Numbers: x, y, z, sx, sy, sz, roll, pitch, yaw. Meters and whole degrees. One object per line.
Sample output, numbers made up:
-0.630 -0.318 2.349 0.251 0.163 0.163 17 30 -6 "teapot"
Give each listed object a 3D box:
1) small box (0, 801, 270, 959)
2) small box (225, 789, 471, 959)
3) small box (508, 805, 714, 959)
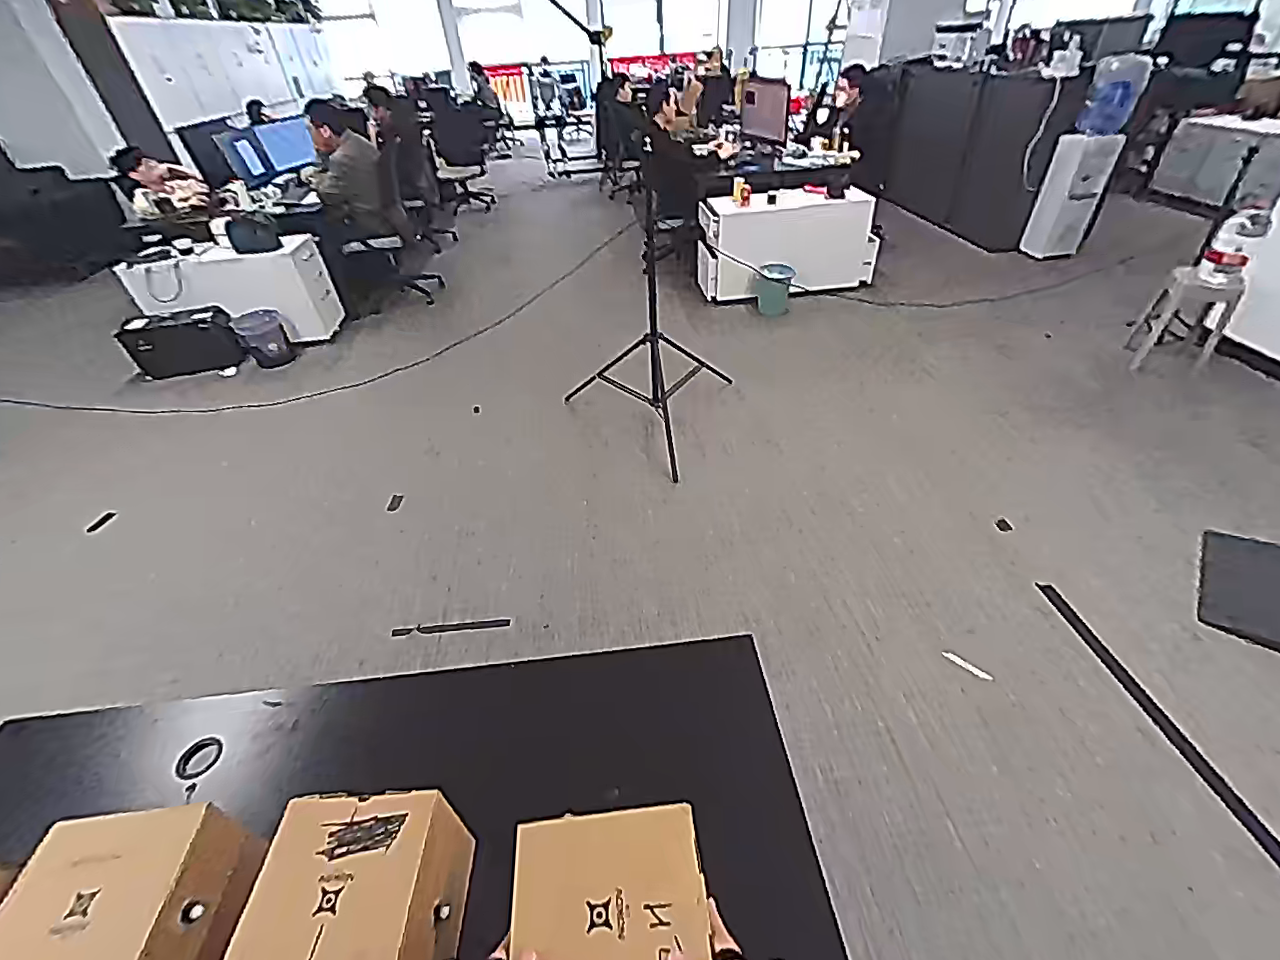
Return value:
-0.541 0.479 0.580 0.168 0.176 0.179 -6 39 -4 "small box"
-0.292 0.461 0.581 0.168 0.176 0.179 -3 40 0 "small box"
-0.024 0.449 0.528 0.179 0.176 0.168 -5 39 -3 "small box"
